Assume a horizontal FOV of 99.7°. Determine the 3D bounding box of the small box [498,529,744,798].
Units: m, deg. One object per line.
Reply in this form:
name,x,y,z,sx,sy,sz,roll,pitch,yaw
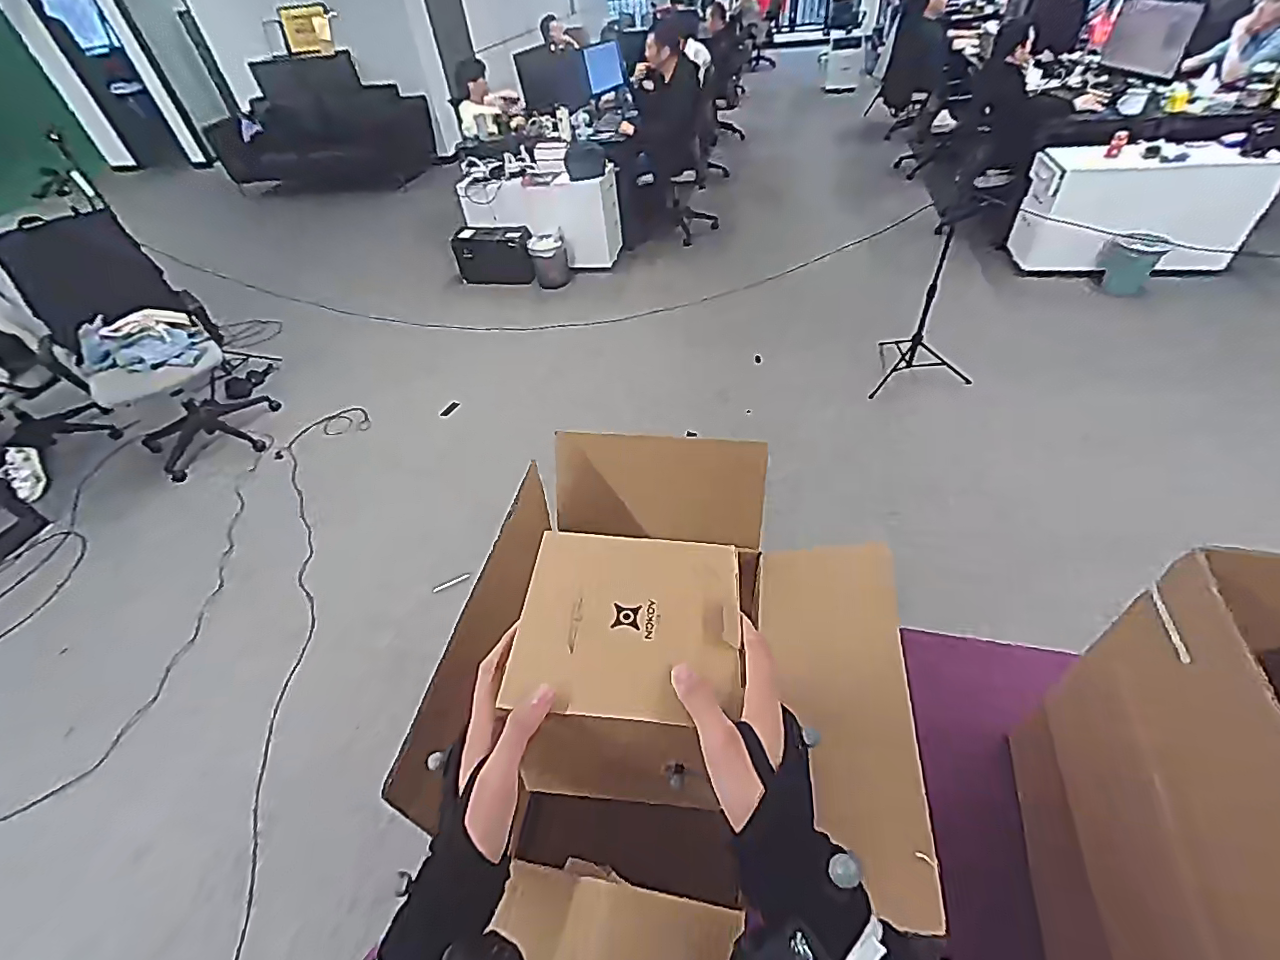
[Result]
small box,-0.007,0.167,0.489,0.179,0.176,0.168,4,42,4
